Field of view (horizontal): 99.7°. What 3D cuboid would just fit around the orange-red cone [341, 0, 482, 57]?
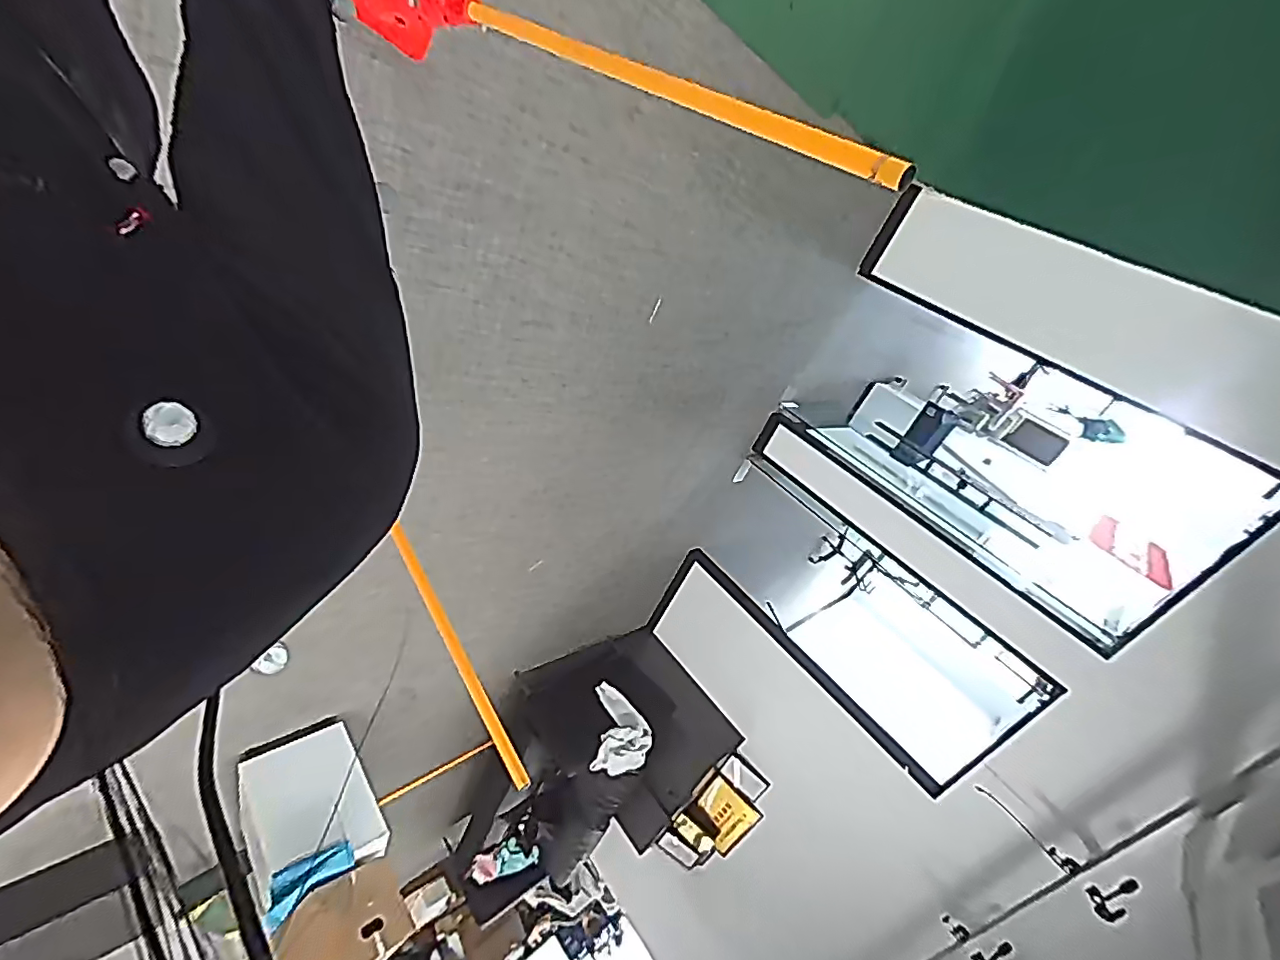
[{"bbox_3d":[-0.391,-0.909,1.009,0.198,0.360,0.199,9,121,-54],"label":"orange-red cone"}]
